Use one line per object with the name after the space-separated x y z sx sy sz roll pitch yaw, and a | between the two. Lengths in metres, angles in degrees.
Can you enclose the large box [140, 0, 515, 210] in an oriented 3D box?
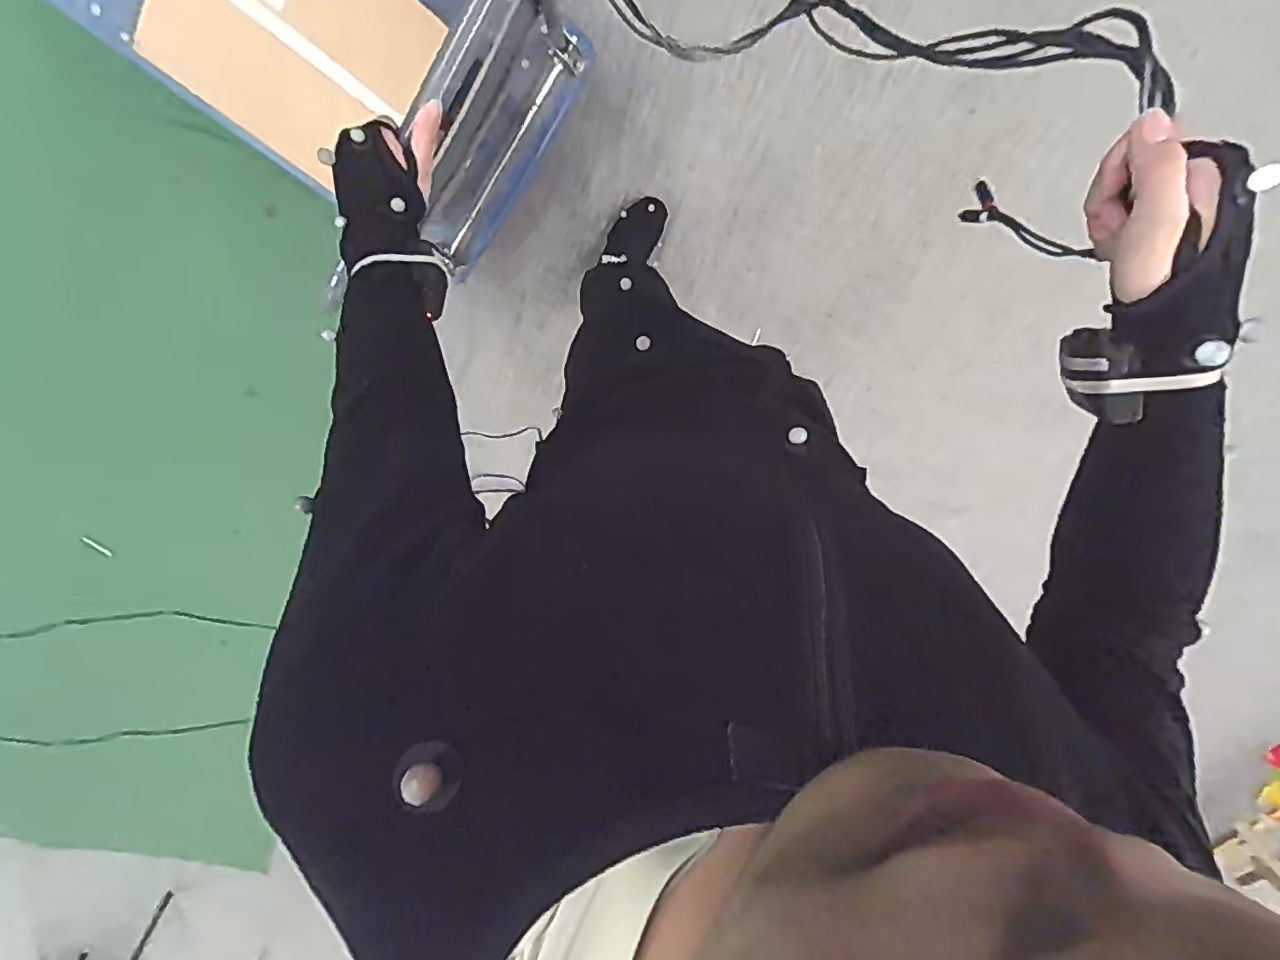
-0.484 -0.735 0.929 0.408 0.320 0.320 37 109 -20 | large box
